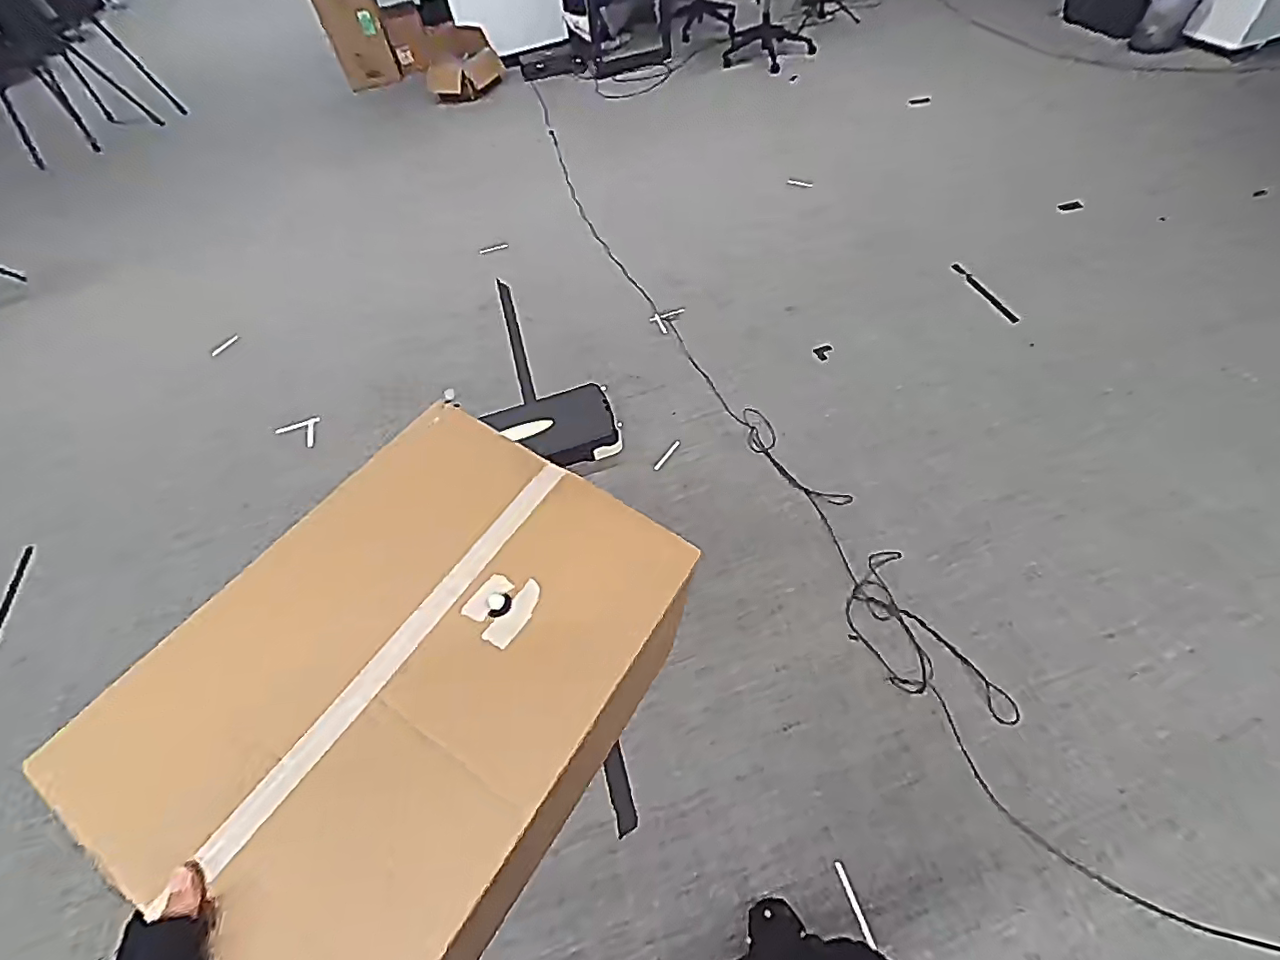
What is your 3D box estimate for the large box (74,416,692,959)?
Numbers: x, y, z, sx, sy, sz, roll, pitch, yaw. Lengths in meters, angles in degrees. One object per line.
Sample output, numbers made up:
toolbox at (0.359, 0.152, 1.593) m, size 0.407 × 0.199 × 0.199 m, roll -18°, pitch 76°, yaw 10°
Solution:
large box at (-0.186, 0.219, 0.566) m, size 0.320 × 0.320 × 0.408 m, roll 29°, pitch 60°, yaw 16°
